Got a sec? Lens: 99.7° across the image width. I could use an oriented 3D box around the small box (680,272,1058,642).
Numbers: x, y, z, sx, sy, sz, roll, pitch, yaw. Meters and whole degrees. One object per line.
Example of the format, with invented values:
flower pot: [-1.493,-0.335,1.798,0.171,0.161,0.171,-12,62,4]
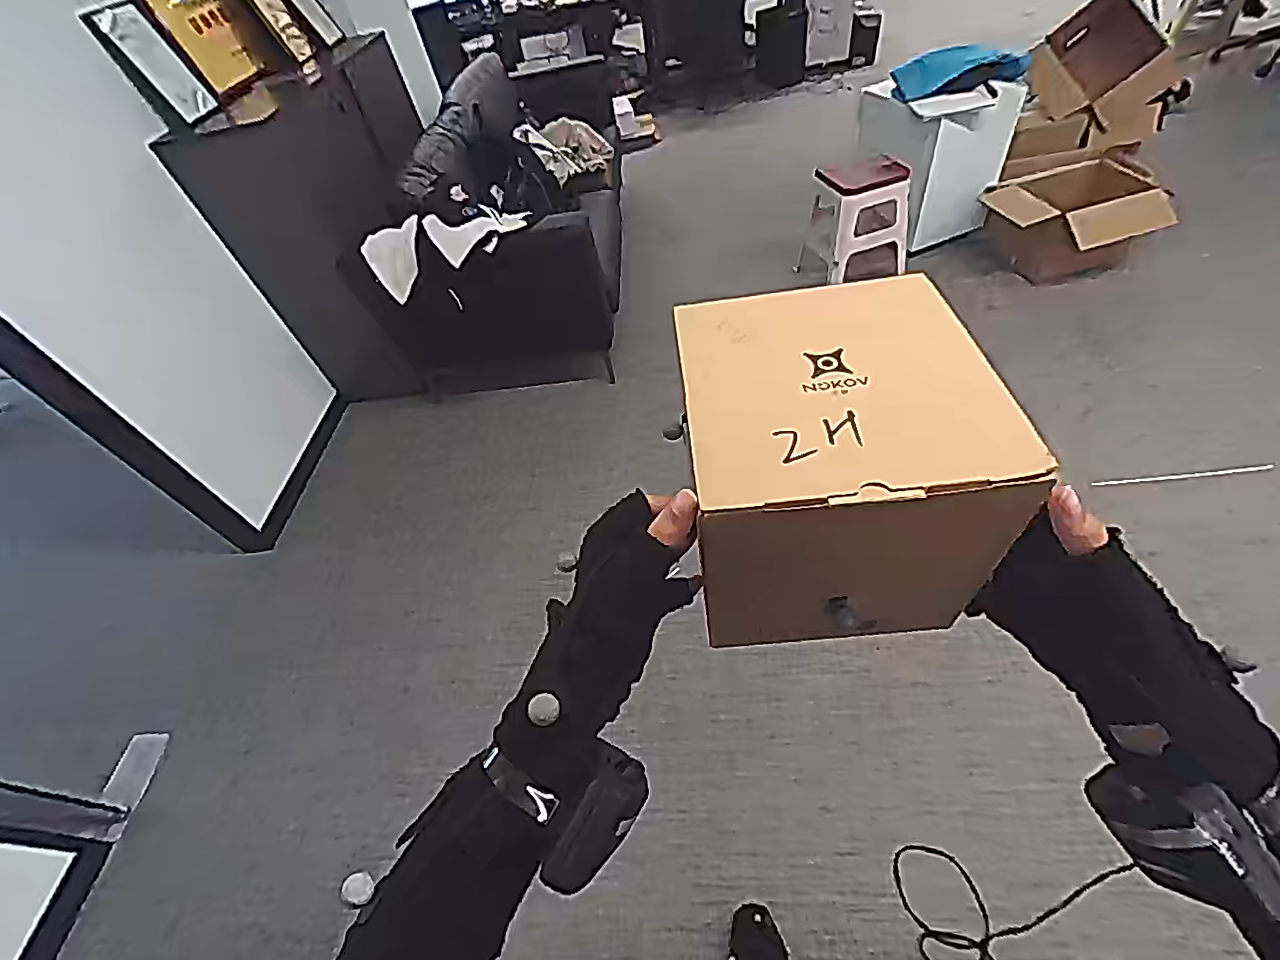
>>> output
small box: [0.118,-0.010,0.366,0.168,0.176,0.179,-7,51,5]
